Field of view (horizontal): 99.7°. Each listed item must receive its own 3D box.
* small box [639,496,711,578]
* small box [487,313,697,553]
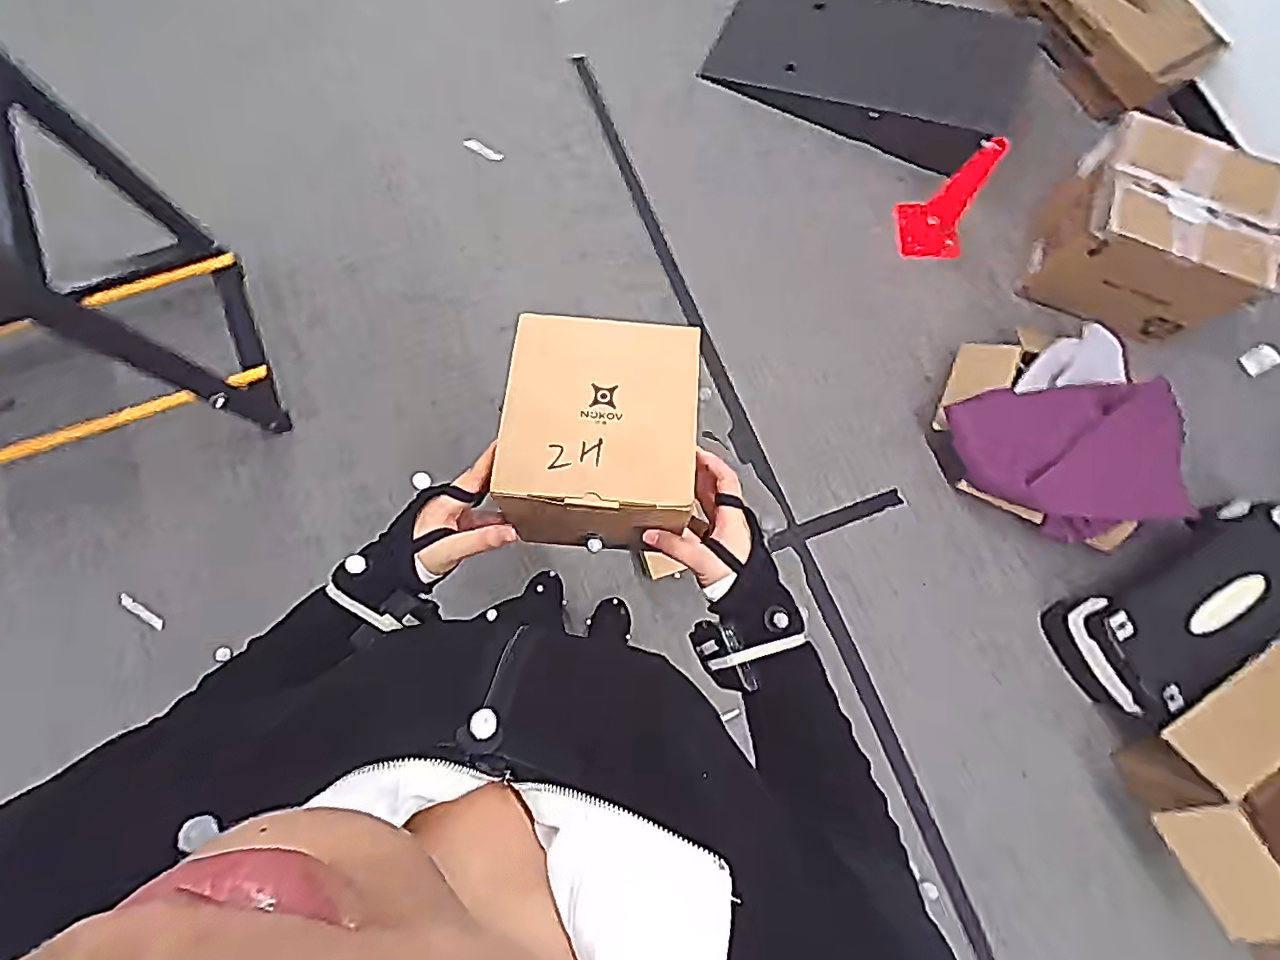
[{"bbox_3d":[0.076,0.158,1.452,0.168,0.176,0.179,-17,81,-6],"label":"small box"},{"bbox_3d":[-0.040,-0.036,0.532,0.168,0.176,0.179,4,71,-1],"label":"small box"}]
